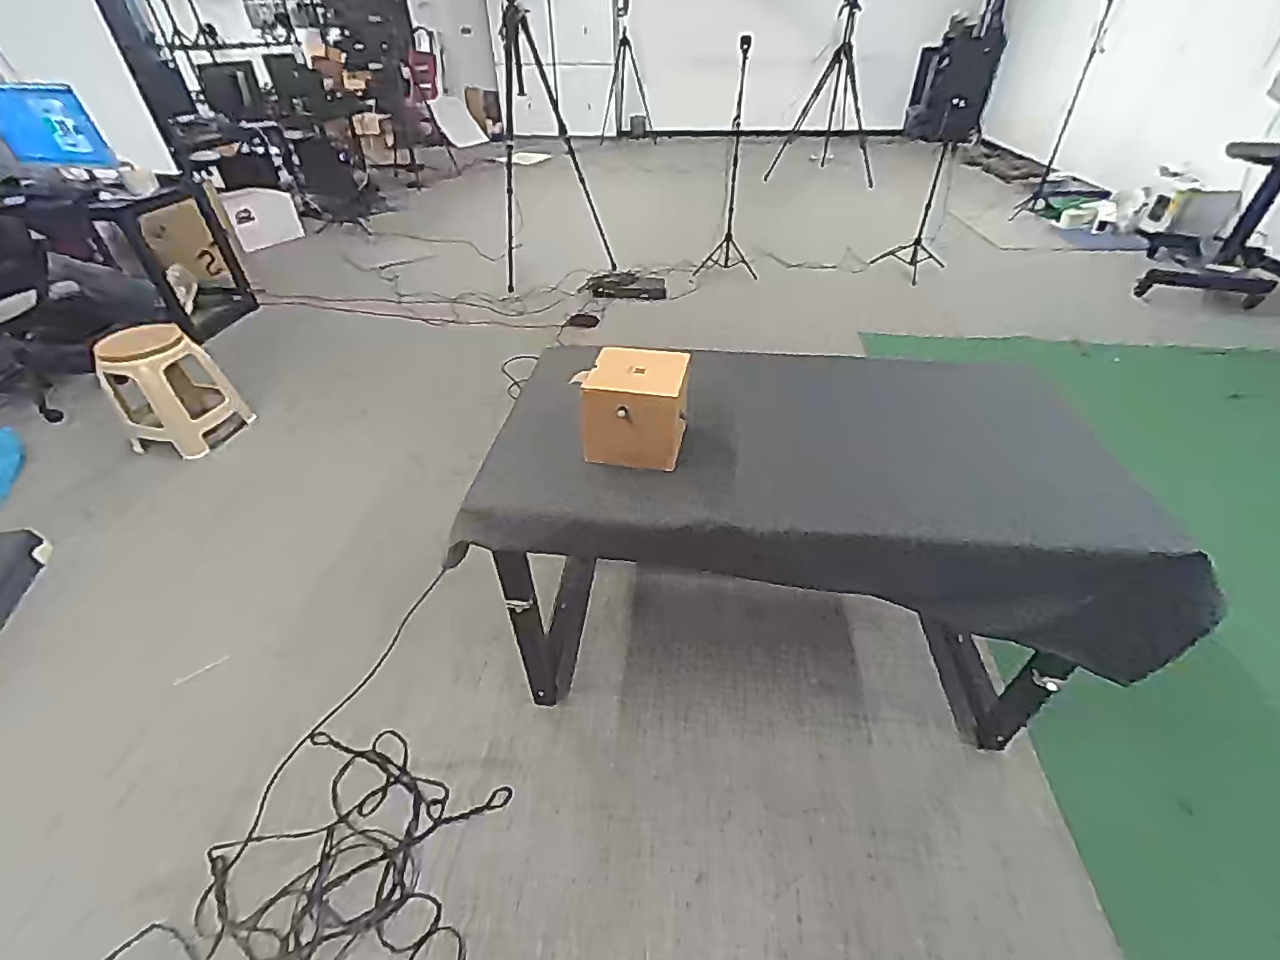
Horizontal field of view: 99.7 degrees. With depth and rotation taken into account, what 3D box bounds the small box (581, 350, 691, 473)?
[{"bbox_3d":[-0.002,-0.131,1.042,0.179,0.176,0.168,7,40,9],"label":"small box"}]
